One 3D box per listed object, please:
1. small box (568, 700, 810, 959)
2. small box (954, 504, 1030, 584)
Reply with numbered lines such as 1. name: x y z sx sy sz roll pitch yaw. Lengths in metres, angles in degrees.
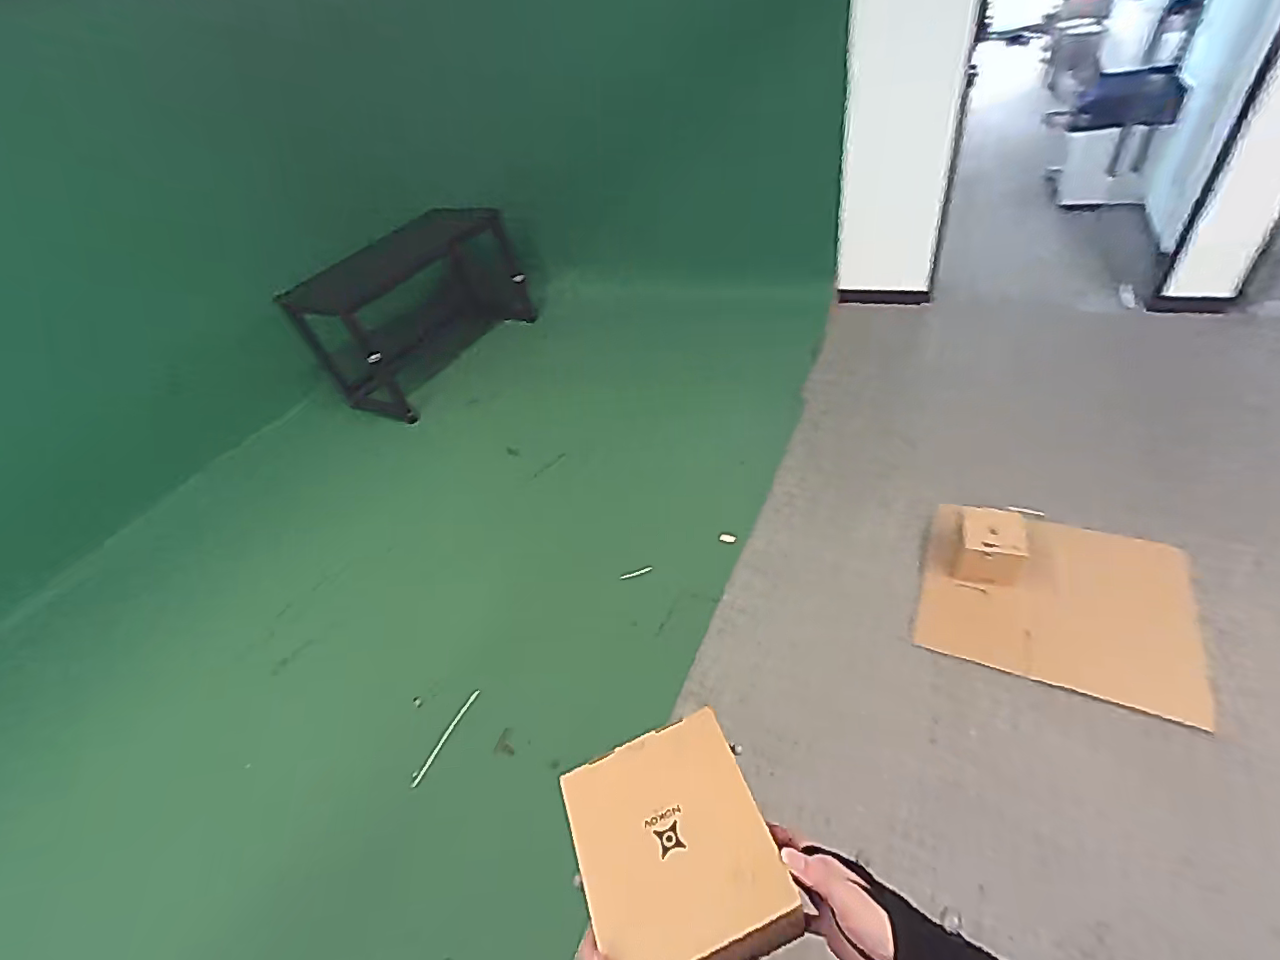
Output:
1. small box: 0.049 0.358 0.524 0.168 0.176 0.179 -23 41 -6
2. small box: 1.107 0.202 1.716 0.168 0.176 0.179 6 47 21
